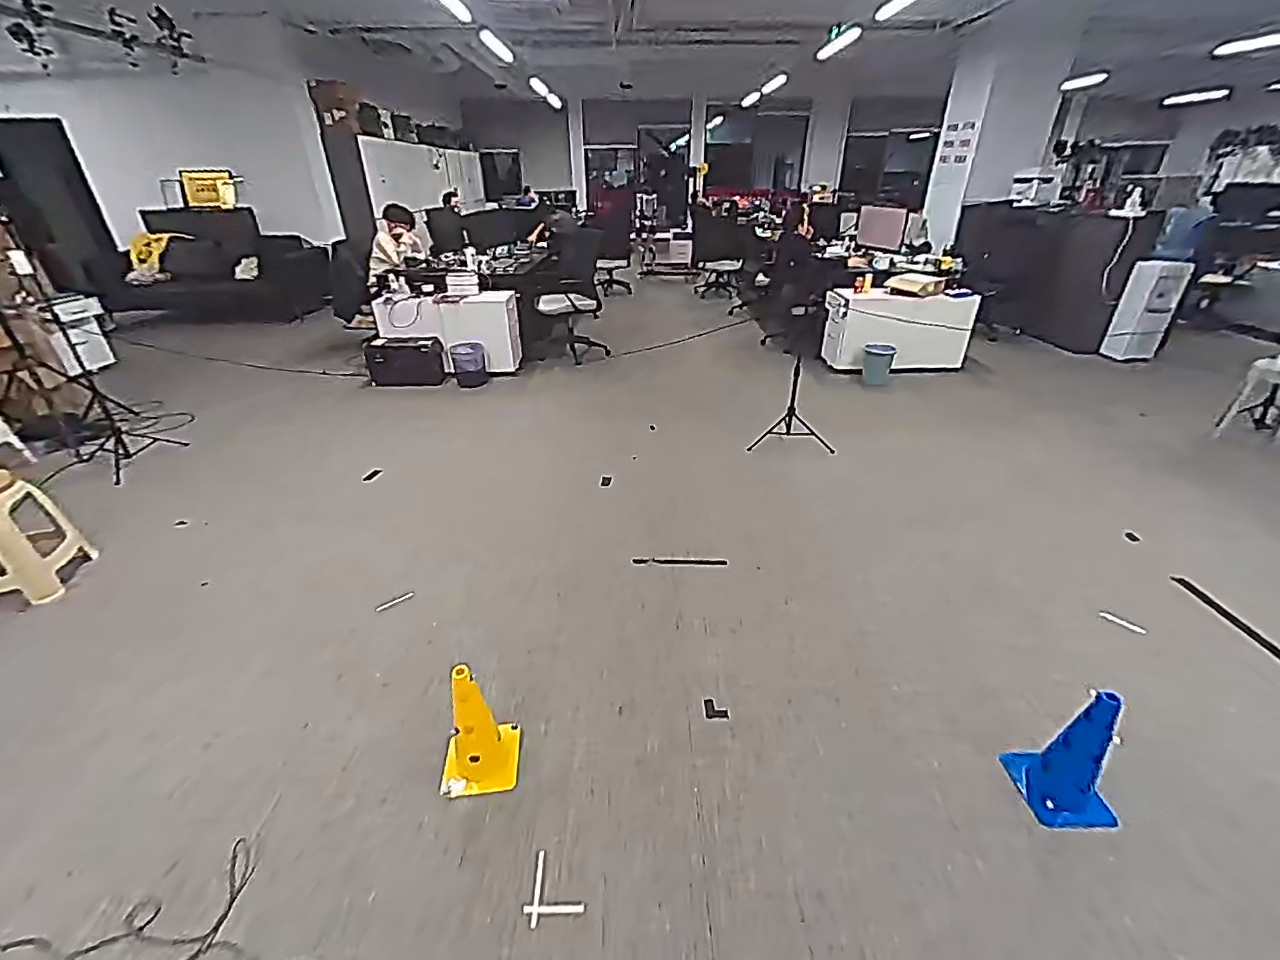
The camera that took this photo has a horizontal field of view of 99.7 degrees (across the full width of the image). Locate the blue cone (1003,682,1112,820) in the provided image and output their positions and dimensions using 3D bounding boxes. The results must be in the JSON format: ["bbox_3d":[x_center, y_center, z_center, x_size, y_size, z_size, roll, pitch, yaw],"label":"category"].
[{"bbox_3d":[1.095,0.661,1.354,0.193,0.380,0.192,0,28,1],"label":"blue cone"}]
